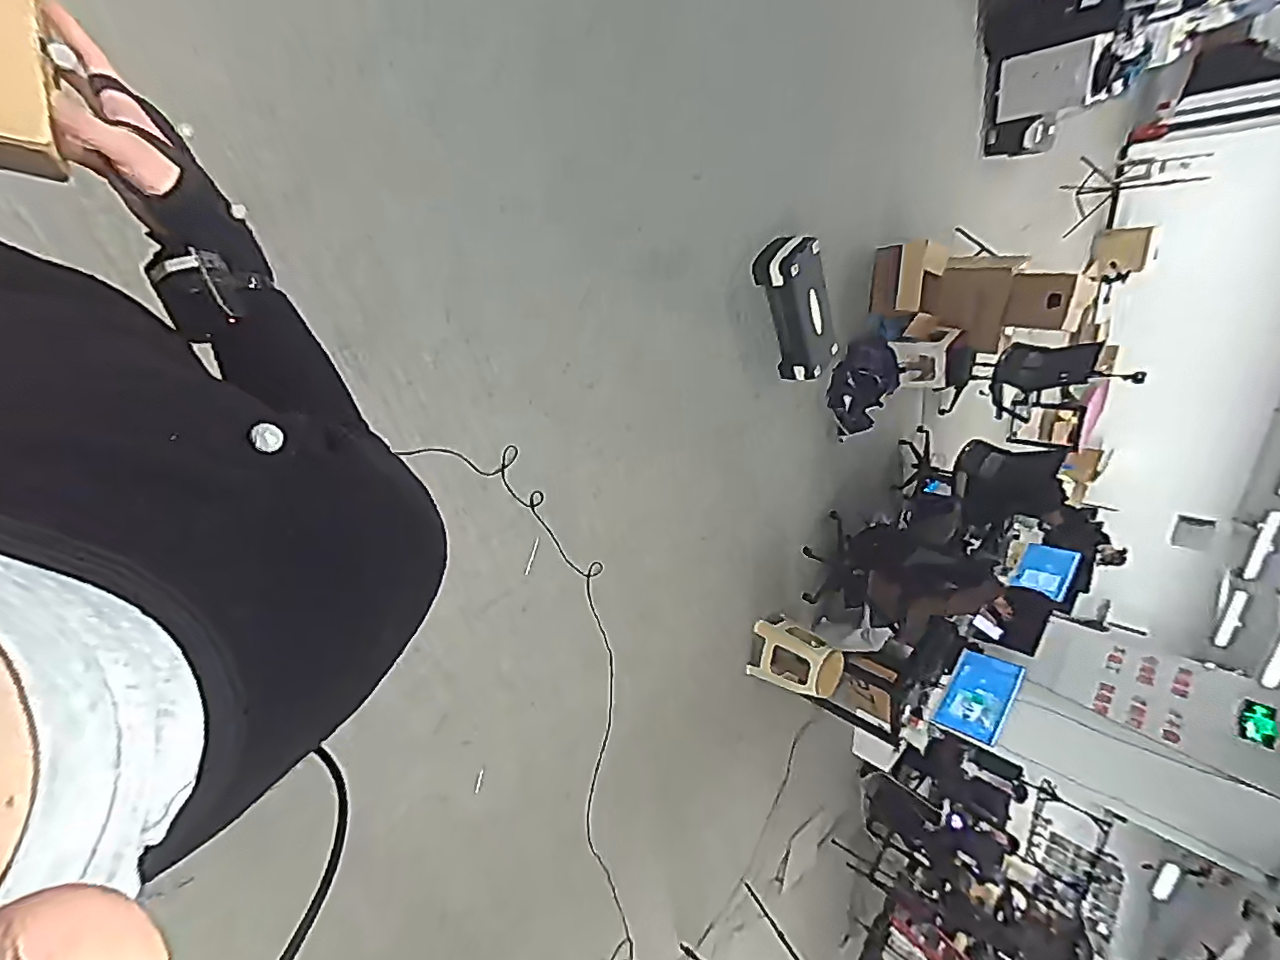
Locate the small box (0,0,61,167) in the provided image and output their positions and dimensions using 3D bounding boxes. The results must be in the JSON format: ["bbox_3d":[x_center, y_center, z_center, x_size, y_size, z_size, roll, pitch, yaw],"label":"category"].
[{"bbox_3d":[-0.468,-0.303,0.313,0.168,0.176,0.179,-7,112,-44],"label":"small box"}]
